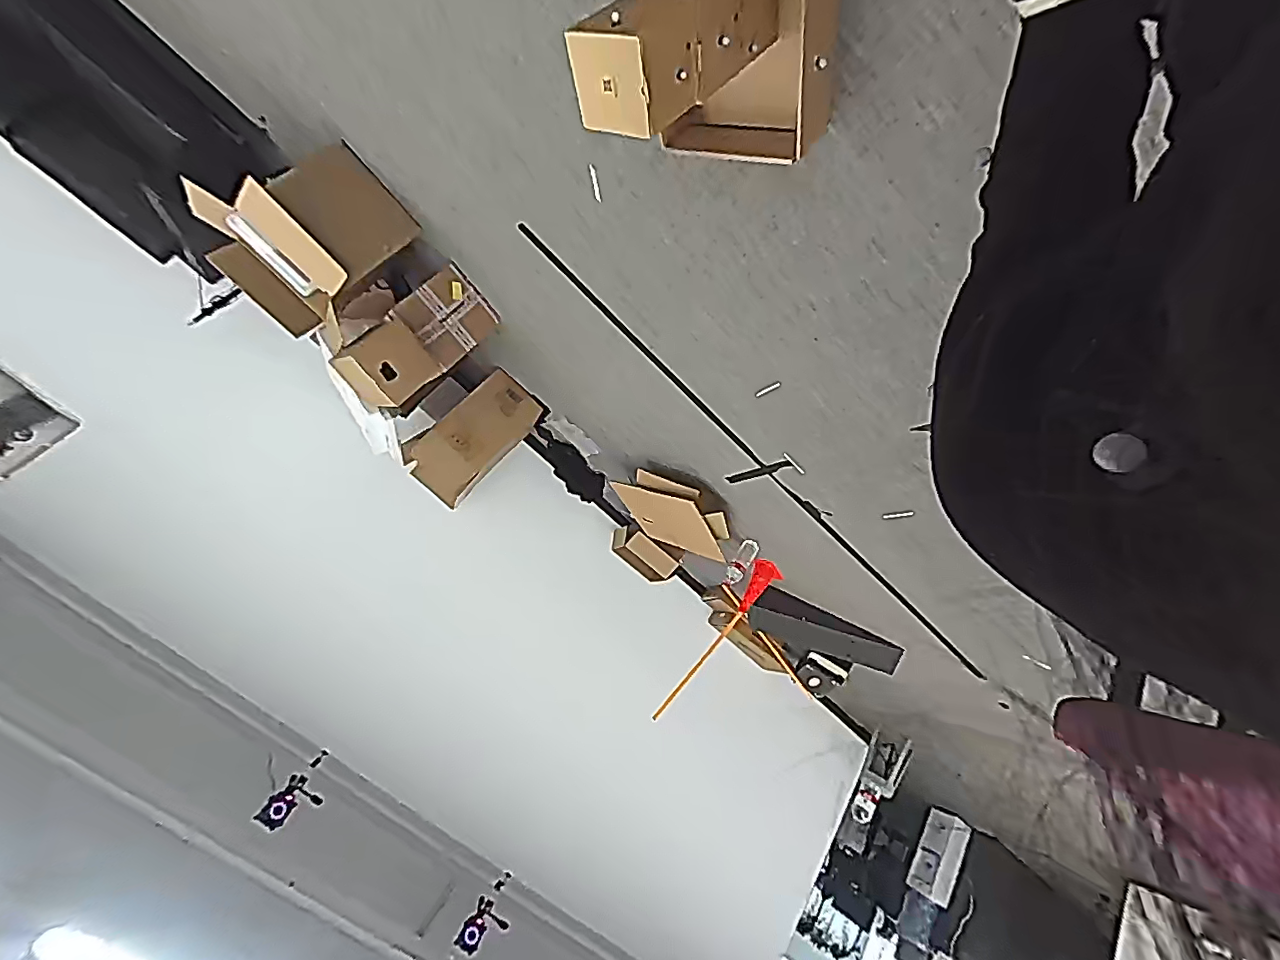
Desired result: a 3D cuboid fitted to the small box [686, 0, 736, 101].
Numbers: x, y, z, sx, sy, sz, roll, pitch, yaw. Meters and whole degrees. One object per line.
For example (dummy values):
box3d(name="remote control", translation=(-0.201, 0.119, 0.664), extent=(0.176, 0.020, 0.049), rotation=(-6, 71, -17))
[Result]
box3d(name="small box", translation=(0.086, -0.913, 1.106), extent=(0.179, 0.176, 0.168), rotation=(27, 154, 24))

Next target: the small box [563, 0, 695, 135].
box3d(name="small box", translation=(-0.014, -0.801, 1.040), extent=(0.179, 0.176, 0.168), rotation=(27, 154, 25))
